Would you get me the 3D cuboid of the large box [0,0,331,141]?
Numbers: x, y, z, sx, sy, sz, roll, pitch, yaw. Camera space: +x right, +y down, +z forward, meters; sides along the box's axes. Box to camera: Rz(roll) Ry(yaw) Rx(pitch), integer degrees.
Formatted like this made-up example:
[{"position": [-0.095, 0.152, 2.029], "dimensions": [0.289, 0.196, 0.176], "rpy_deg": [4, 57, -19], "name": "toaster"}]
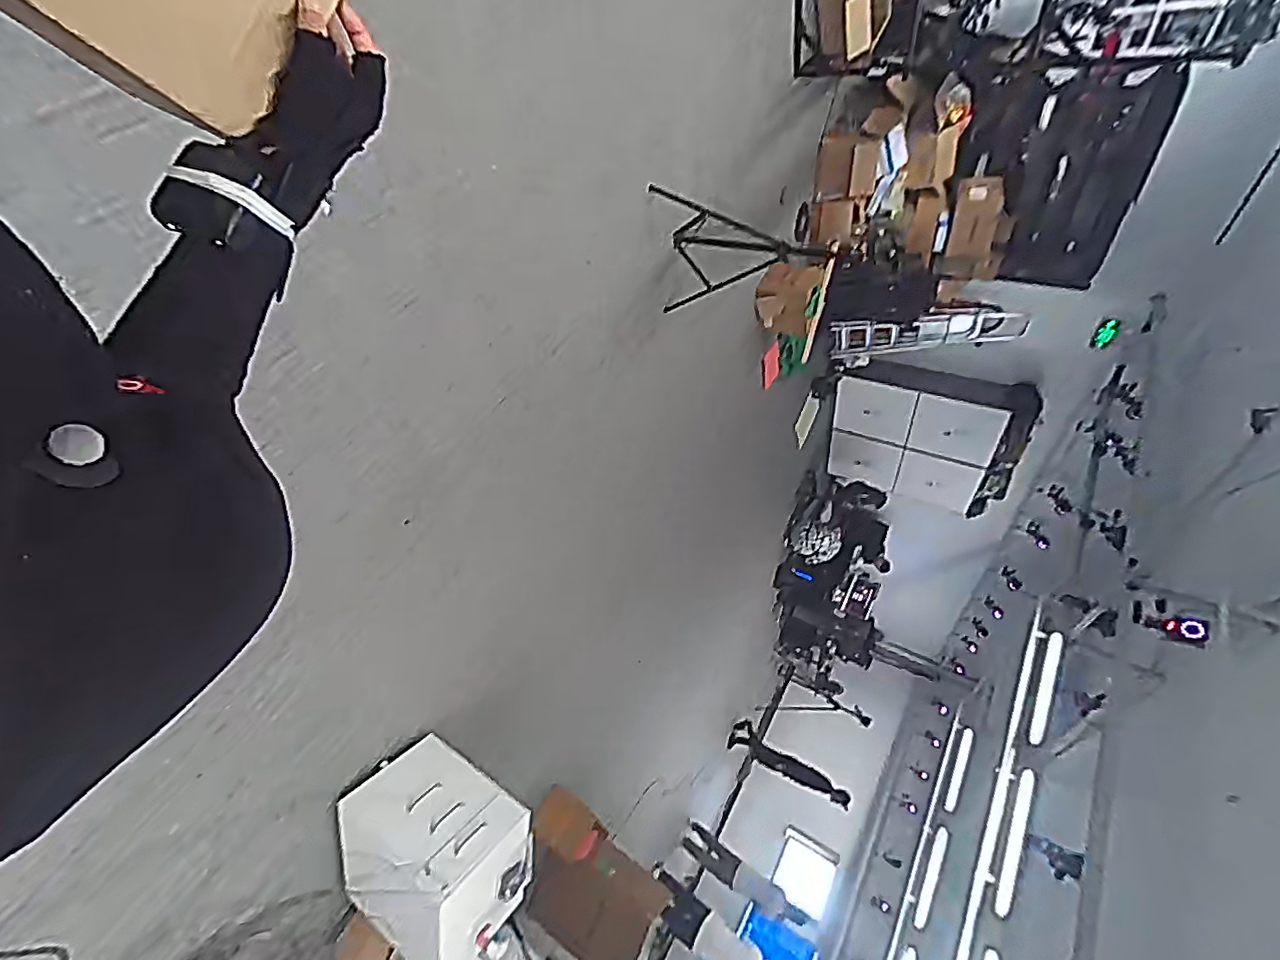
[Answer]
[{"position": [-0.436, -0.511, 0.328], "dimensions": [0.320, 0.320, 0.408], "rpy_deg": [-58, 152, 4], "name": "large box"}]
